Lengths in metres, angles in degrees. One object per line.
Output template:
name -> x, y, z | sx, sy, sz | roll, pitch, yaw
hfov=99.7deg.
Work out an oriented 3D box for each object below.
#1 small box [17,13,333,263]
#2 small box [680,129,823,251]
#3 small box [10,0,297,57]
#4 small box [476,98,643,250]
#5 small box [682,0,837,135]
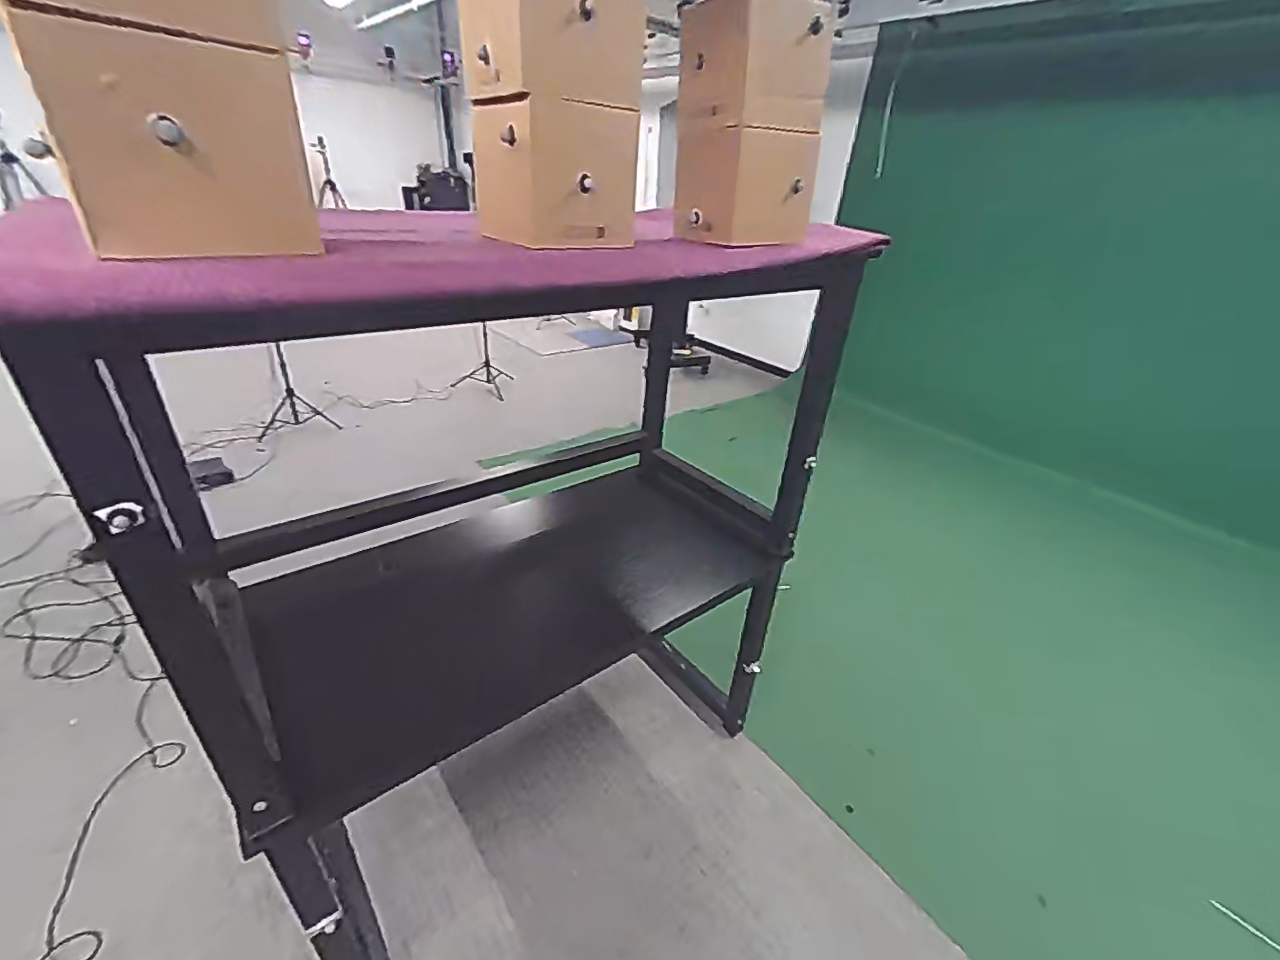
small box -> -0.425, -0.308, 0.513 | 0.179, 0.176, 0.168 | -23, 40, -39
small box -> 0.182, -0.499, 0.936 | 0.179, 0.176, 0.168 | -17, 33, -29
small box -> -0.411, -0.451, 0.432 | 0.168, 0.176, 0.179 | 29, 36, 35
small box -> -0.115, -0.425, 0.766 | 0.168, 0.176, 0.179 | -17, 35, -35
small box -> 0.181, -0.644, 0.862 | 0.179, 0.176, 0.168 | -14, 32, -27
